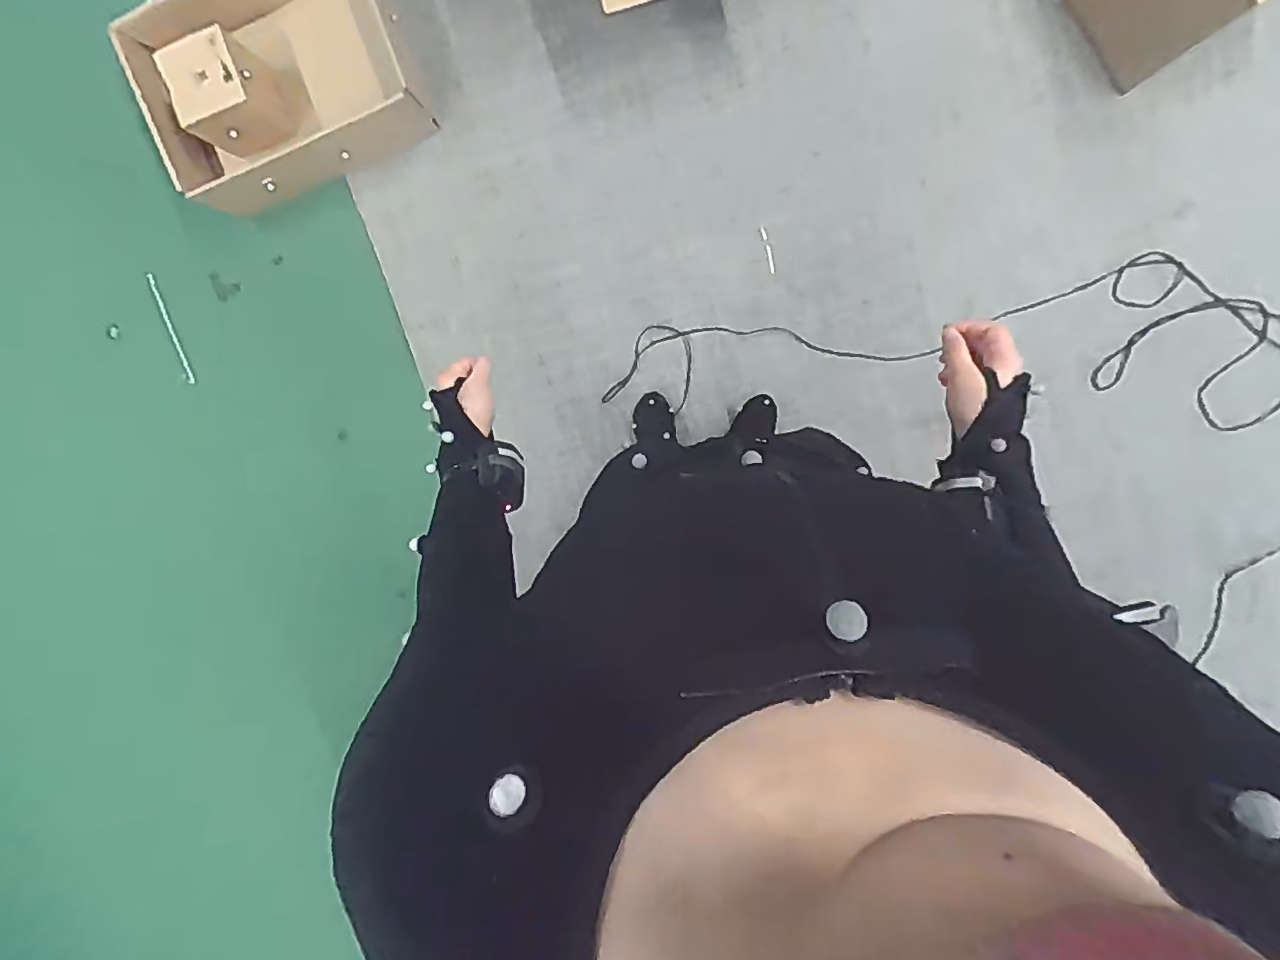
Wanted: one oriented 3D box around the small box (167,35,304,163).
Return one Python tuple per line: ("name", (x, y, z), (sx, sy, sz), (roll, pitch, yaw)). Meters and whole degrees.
("small box", (-0.966, -0.905, 1.305), (0.179, 0.176, 0.168), (-17, 96, 7))
